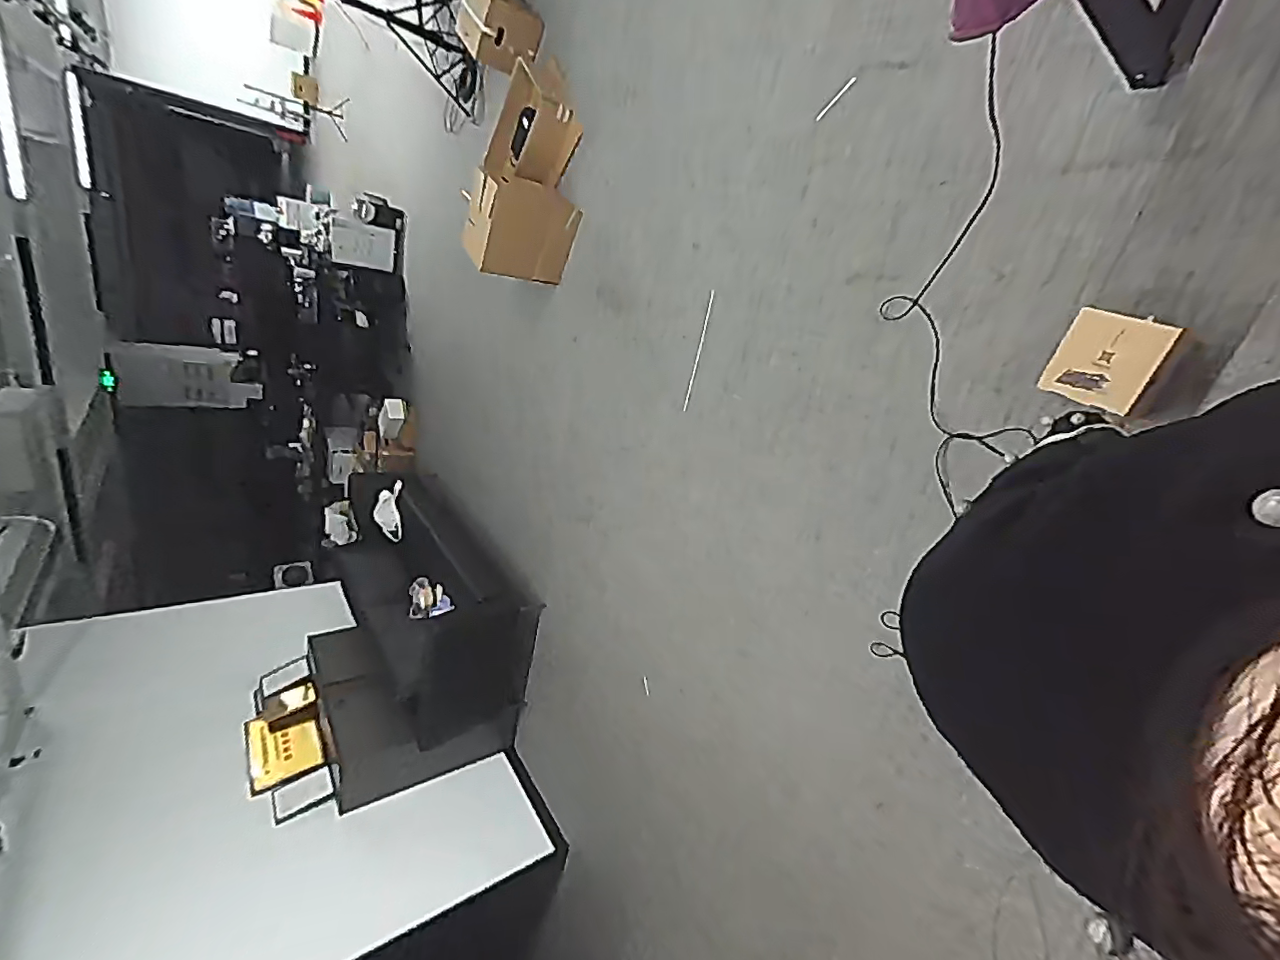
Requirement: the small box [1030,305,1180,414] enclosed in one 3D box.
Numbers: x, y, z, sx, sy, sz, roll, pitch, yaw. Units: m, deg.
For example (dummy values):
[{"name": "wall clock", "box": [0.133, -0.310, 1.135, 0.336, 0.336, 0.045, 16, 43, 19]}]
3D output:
[{"name": "small box", "box": [0.972, -0.246, 1.128, 0.168, 0.176, 0.179, 40, 122, 42]}]
